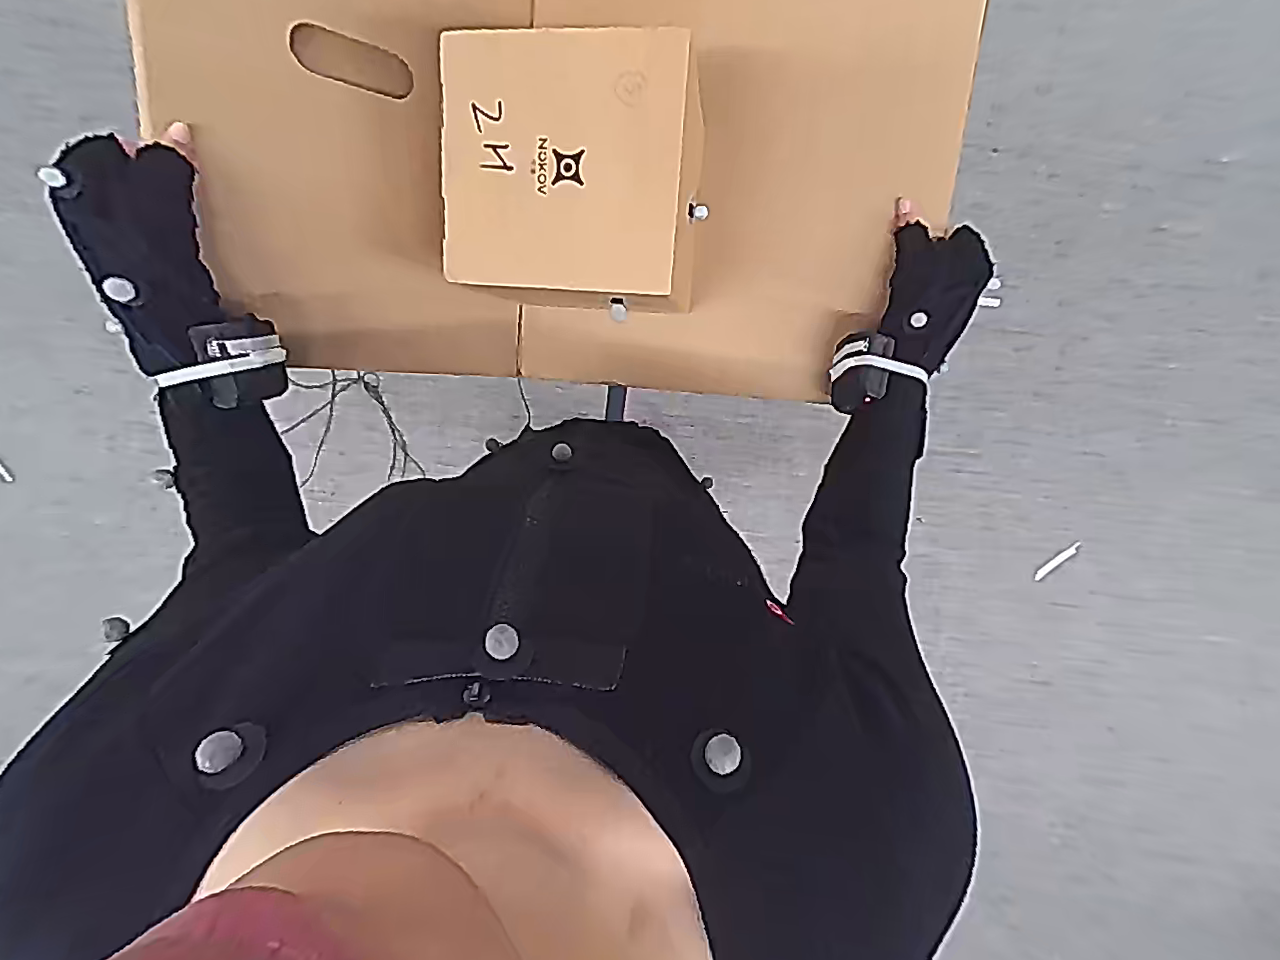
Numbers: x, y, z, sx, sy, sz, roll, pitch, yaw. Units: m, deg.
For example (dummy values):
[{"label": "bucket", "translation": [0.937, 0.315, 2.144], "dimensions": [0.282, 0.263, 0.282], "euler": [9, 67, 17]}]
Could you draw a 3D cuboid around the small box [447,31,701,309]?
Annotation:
[{"label": "small box", "translation": [-0.044, -0.243, 0.464], "dimensions": [0.179, 0.176, 0.168], "euler": [7, 103, 8]}]
